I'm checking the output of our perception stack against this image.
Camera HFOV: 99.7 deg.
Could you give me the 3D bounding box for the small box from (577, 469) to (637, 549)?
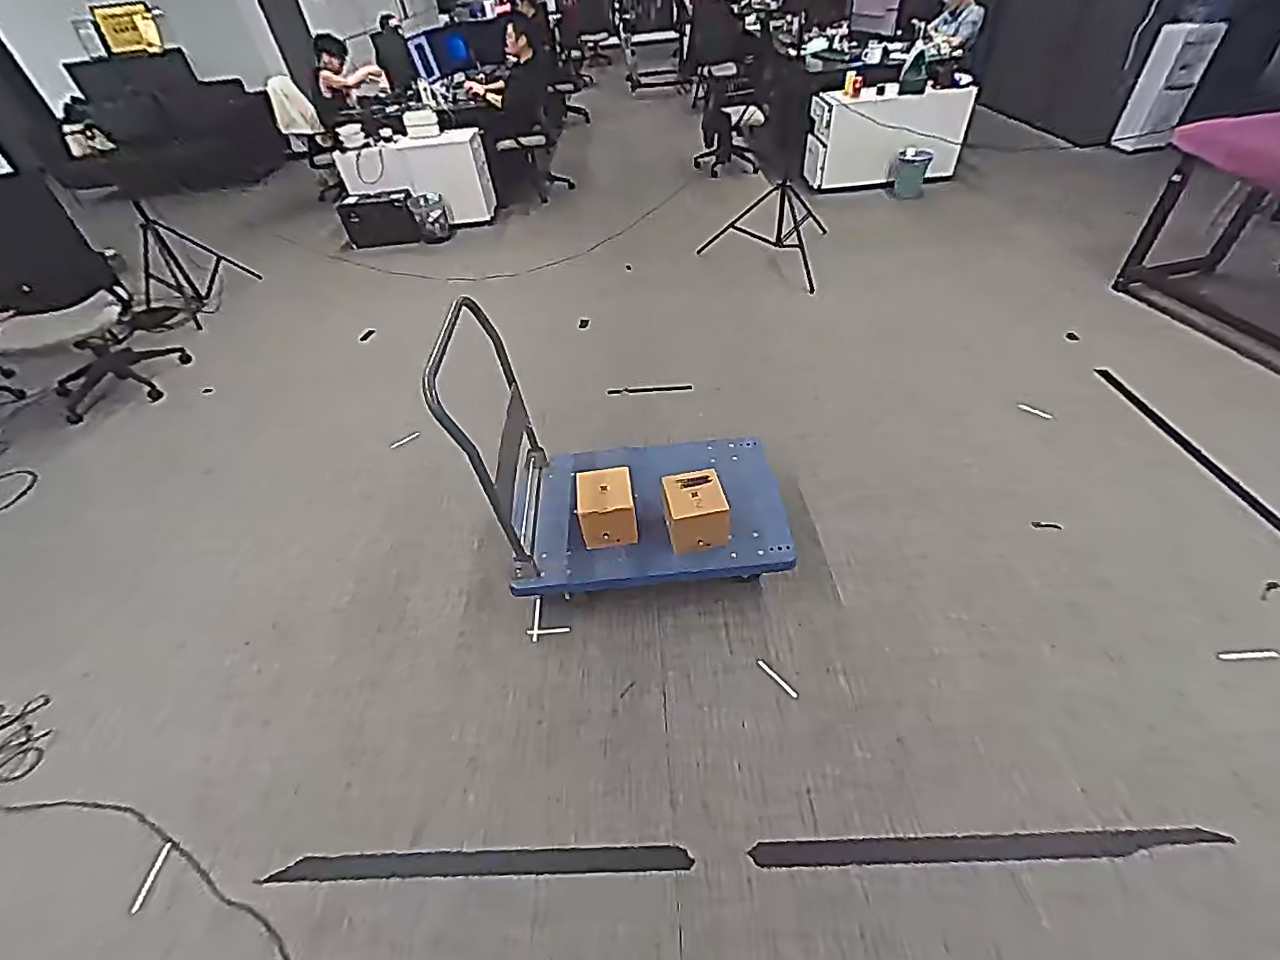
[{"bbox_3d":[-0.104,0.090,1.682,0.168,0.176,0.179,-8,45,-2],"label":"small box"}]
